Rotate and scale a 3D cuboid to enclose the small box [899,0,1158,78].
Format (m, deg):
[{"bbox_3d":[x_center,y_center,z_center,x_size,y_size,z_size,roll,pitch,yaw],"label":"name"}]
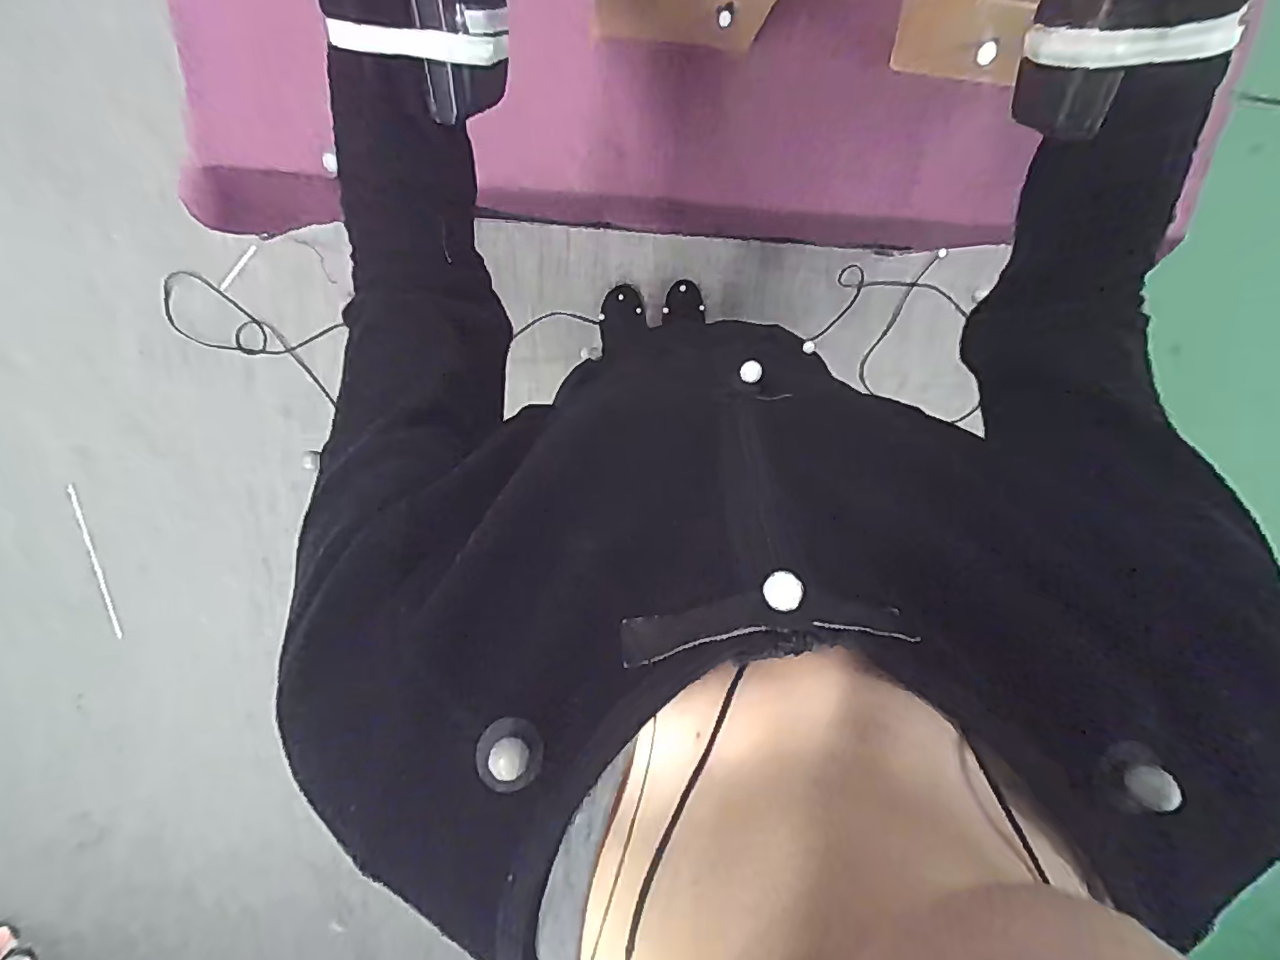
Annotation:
[{"bbox_3d":[0.381,-0.526,0.524,0.168,0.176,0.179,4,108,-5],"label":"small box"}]

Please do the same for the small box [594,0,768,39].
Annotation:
[{"bbox_3d":[0.048,-0.543,0.496,0.179,0.176,0.168,3,108,-4],"label":"small box"}]
